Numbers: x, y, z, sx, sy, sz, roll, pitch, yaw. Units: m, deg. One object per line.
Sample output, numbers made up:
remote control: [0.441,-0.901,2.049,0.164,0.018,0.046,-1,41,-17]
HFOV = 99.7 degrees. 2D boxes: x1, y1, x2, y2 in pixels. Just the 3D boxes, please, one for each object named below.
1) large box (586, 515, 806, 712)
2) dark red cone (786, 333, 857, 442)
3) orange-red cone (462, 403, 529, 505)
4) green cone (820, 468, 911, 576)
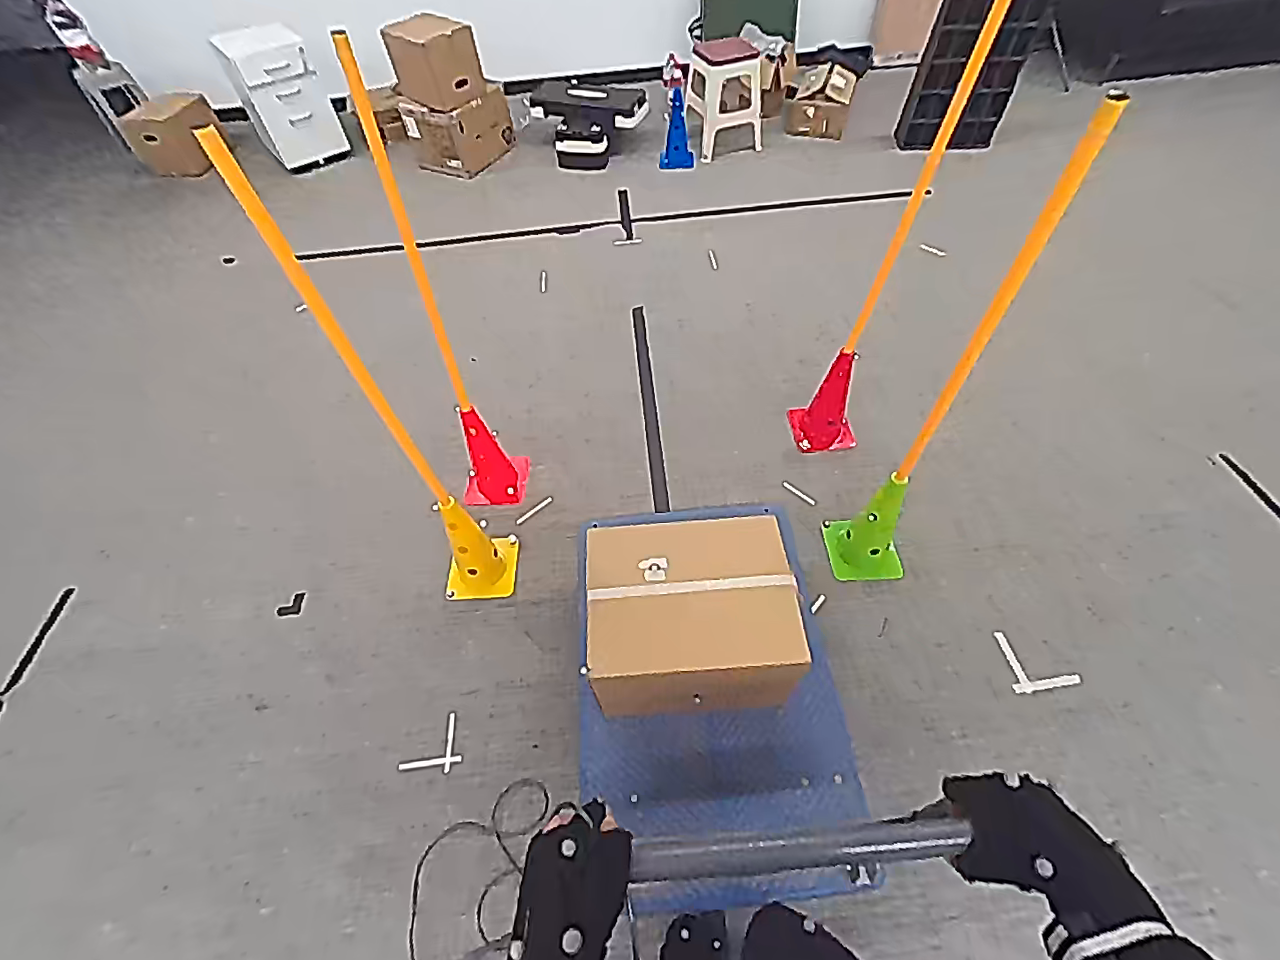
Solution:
large box: [0.104,0.302,1.183,0.408,0.320,0.320,-5,54,1]
dark red cone: [0.624,-0.305,1.752,0.201,0.394,0.202,-5,54,-2]
orange-red cone: [-0.491,-0.104,1.698,0.198,0.360,0.199,1,52,3]
green cone: [0.650,0.095,1.478,0.202,0.368,0.200,-2,54,0]
